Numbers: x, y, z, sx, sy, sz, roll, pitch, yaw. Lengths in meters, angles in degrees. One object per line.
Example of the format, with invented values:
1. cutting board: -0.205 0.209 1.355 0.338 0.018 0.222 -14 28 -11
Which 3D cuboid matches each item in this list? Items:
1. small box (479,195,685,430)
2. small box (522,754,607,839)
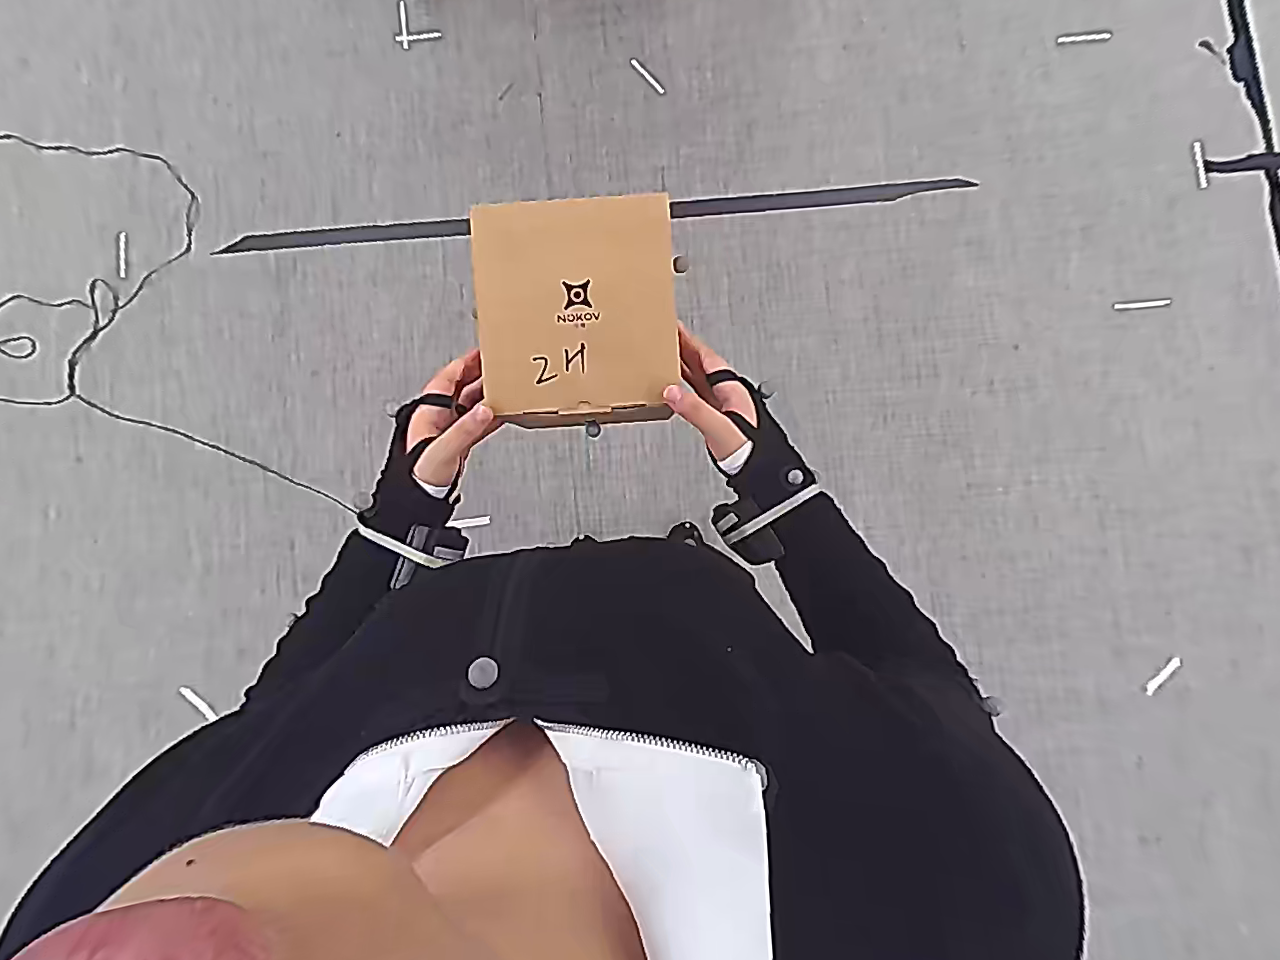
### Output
1. small box: -0.050 -0.147 0.526 0.168 0.176 0.179 -4 91 0
2. small box: -0.173 0.768 1.277 0.168 0.176 0.179 -7 86 0
